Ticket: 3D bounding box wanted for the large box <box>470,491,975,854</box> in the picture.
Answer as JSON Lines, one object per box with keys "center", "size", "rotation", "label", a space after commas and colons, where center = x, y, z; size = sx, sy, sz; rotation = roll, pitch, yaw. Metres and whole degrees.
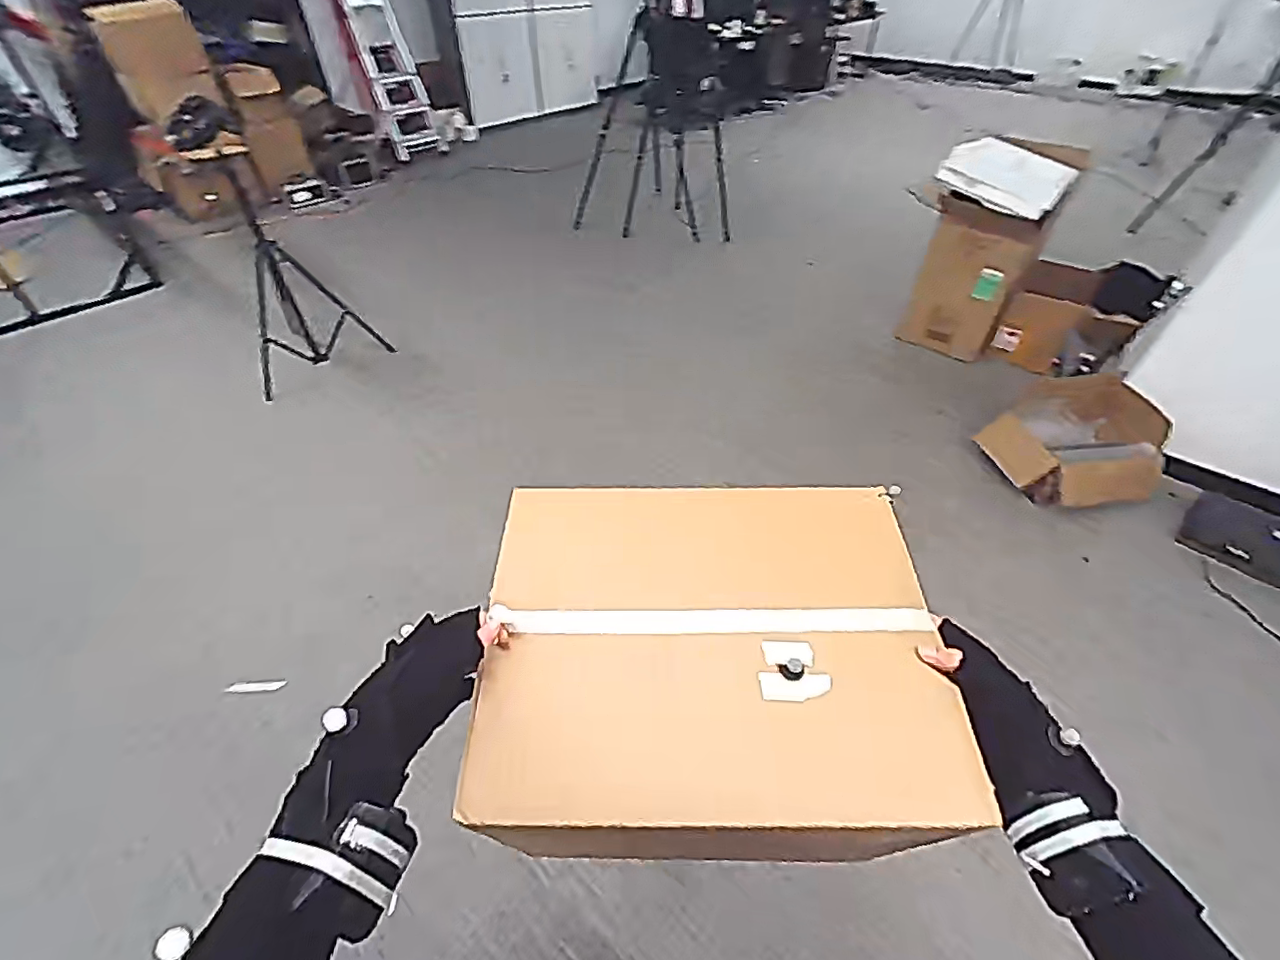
{"center": [0.062, 0.228, 0.625], "size": [0.408, 0.320, 0.320], "rotation": [-1, 52, 0], "label": "large box"}
